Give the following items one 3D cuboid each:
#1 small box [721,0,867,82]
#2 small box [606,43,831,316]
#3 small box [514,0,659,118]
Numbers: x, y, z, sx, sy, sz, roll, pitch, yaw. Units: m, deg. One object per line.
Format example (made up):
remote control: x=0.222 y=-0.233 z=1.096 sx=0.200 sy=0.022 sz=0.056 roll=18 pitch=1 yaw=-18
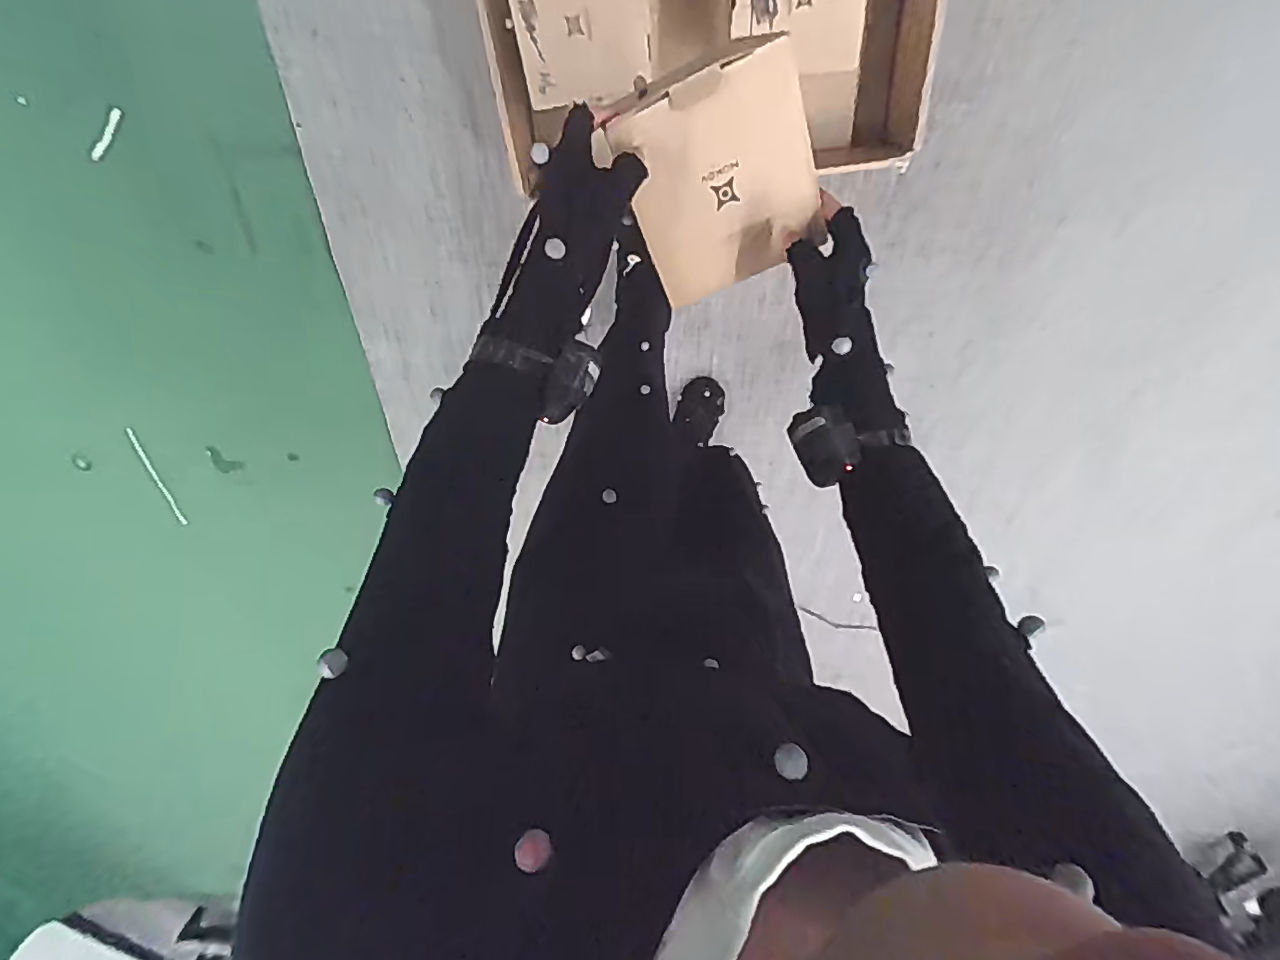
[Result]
small box: x=0.208 y=-0.660 z=0.759 sx=0.179 sy=0.176 sz=0.168 roll=-2 pitch=127 yaw=4
small box: x=0.073 y=-0.305 z=0.554 sx=0.168 sy=0.176 sz=0.179 roll=-22 pitch=128 yaw=10
small box: x=-0.072 y=-0.639 z=0.782 sx=0.179 sy=0.176 sz=0.168 roll=-7 pitch=125 yaw=5
